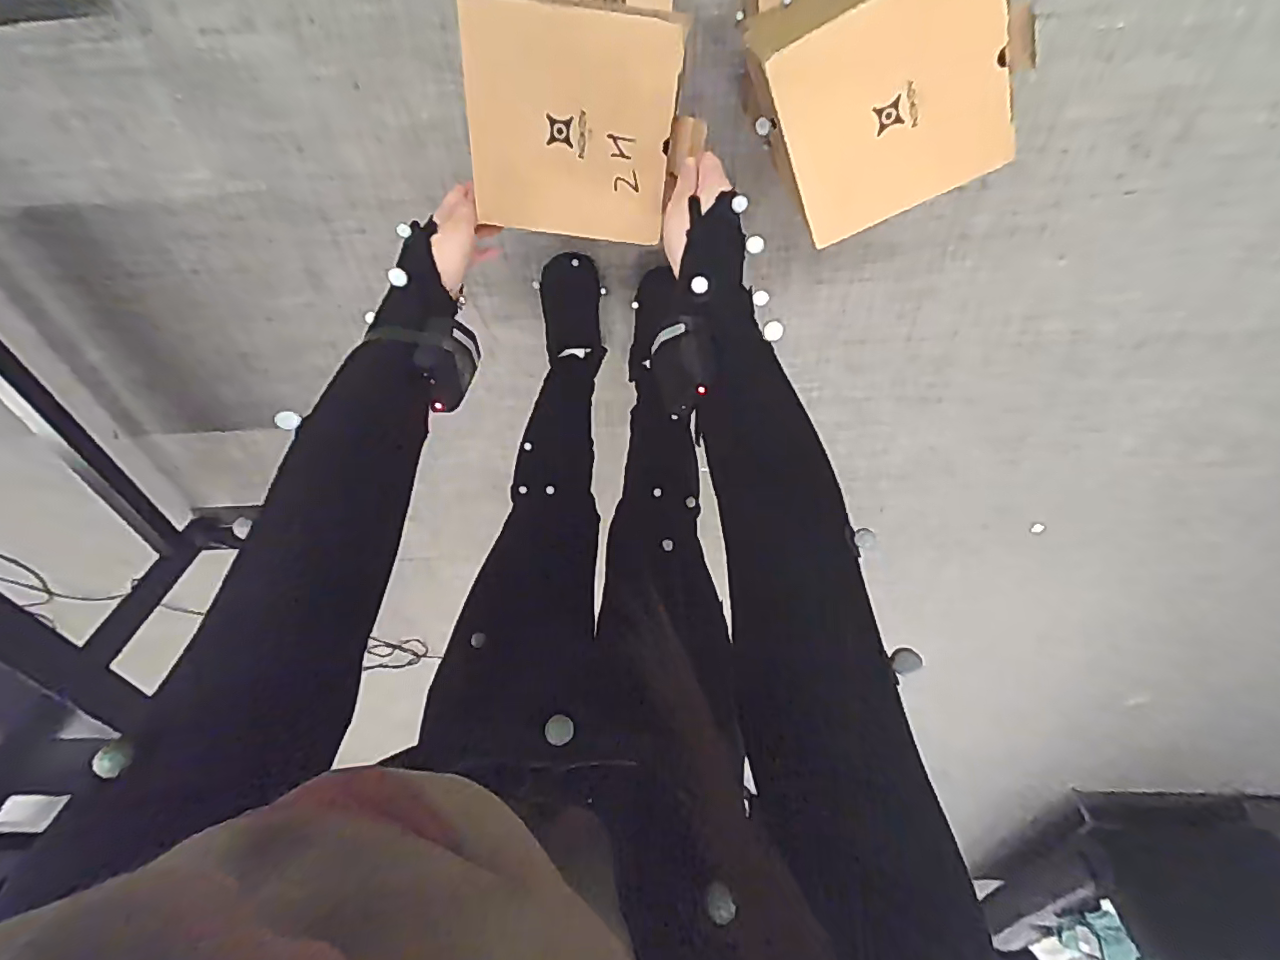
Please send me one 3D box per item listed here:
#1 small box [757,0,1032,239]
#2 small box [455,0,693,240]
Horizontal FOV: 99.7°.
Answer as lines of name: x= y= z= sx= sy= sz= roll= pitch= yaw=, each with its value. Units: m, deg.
small box: x=0.214 y=-0.357 z=0.486 sx=0.179 sy=0.176 sz=0.168 roll=-20 pitch=131 yaw=20
small box: x=-0.051 y=-0.345 z=0.500 sx=0.179 sy=0.176 sz=0.168 roll=6 pitch=134 yaw=-2
